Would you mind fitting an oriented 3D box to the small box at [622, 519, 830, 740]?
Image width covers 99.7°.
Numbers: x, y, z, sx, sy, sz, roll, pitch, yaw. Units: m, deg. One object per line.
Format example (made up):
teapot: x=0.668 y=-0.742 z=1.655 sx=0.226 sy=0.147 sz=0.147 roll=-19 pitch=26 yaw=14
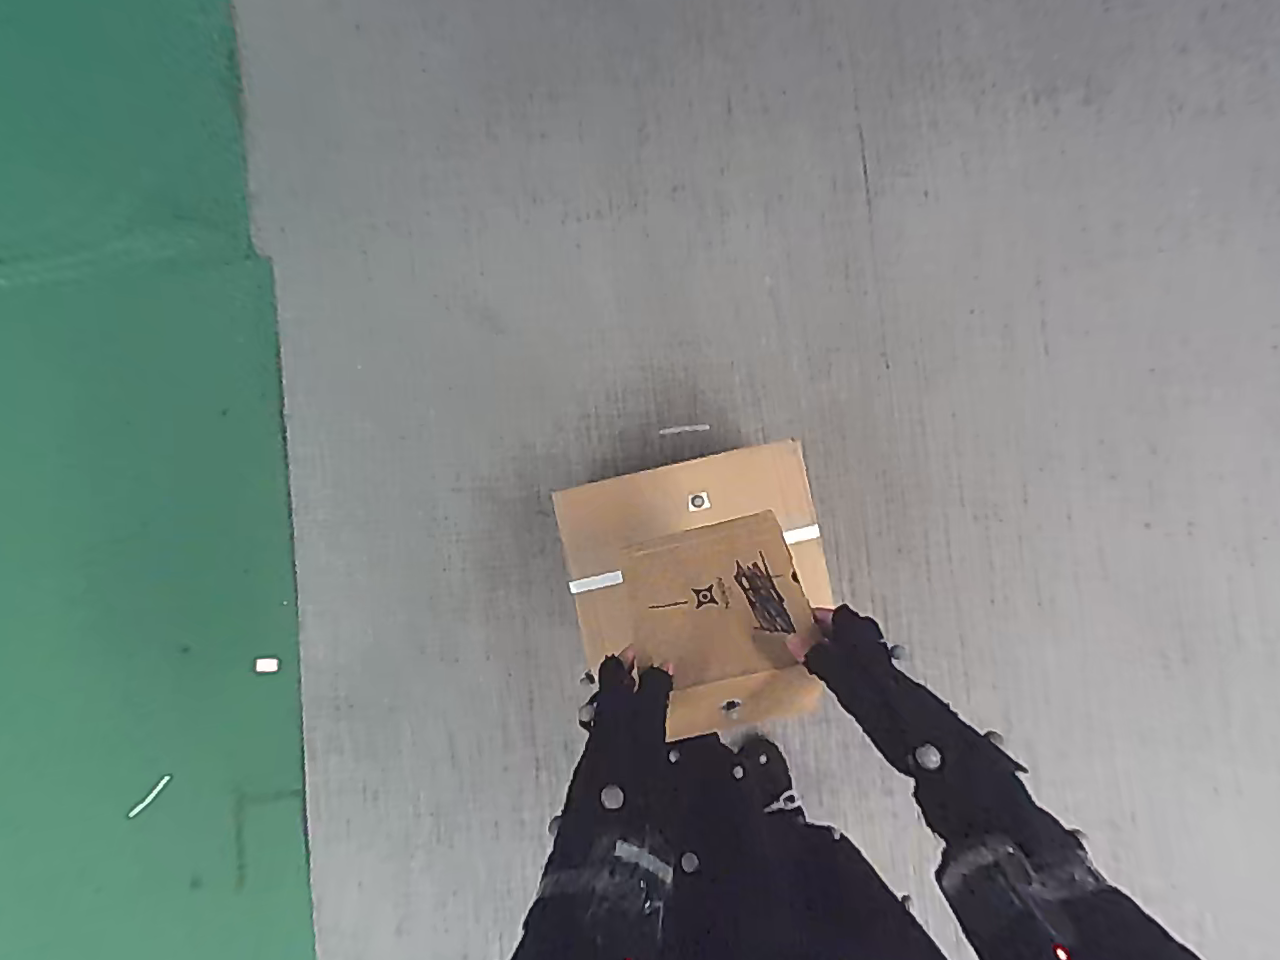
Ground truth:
small box: x=0.088 y=0.170 z=0.598 sx=0.179 sy=0.176 sz=0.168 roll=-13 pitch=51 yaw=2
